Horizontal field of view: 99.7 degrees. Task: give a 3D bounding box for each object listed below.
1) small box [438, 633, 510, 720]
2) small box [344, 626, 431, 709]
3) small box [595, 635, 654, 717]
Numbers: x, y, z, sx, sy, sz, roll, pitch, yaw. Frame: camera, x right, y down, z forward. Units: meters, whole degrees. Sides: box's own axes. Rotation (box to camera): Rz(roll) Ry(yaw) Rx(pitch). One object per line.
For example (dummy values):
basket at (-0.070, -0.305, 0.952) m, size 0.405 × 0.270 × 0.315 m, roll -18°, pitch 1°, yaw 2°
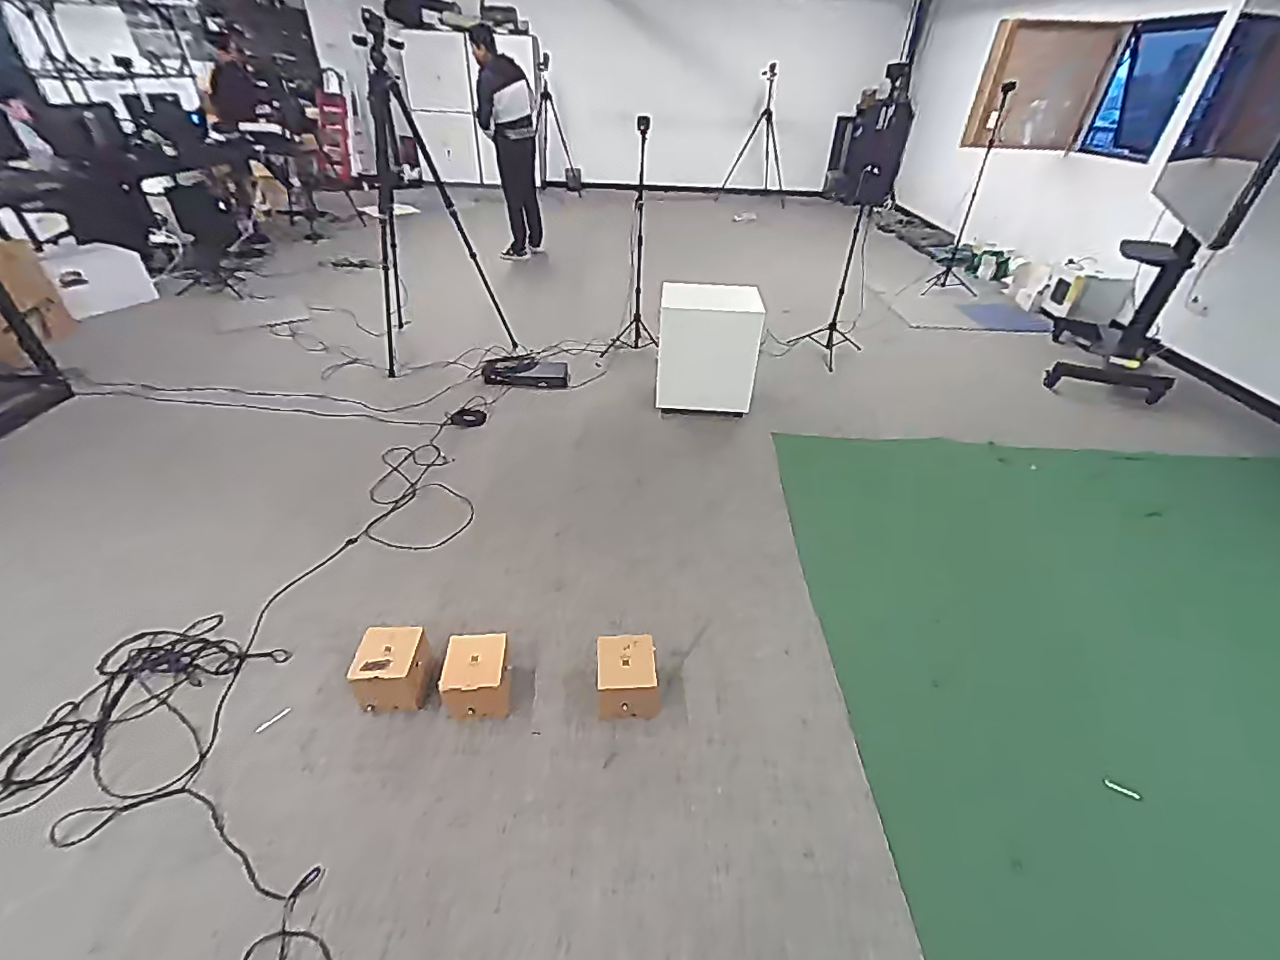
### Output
small box at (-0.475, 0.572, 1.575) m, size 0.168 × 0.176 × 0.179 m, roll -2°, pitch 39°, yaw -5°
small box at (-0.729, 0.551, 1.584) m, size 0.168 × 0.176 × 0.179 m, roll 0°, pitch 37°, yaw -3°
small box at (-0.049, 0.580, 1.590) m, size 0.168 × 0.176 × 0.179 m, roll 0°, pitch 38°, yaw -5°
